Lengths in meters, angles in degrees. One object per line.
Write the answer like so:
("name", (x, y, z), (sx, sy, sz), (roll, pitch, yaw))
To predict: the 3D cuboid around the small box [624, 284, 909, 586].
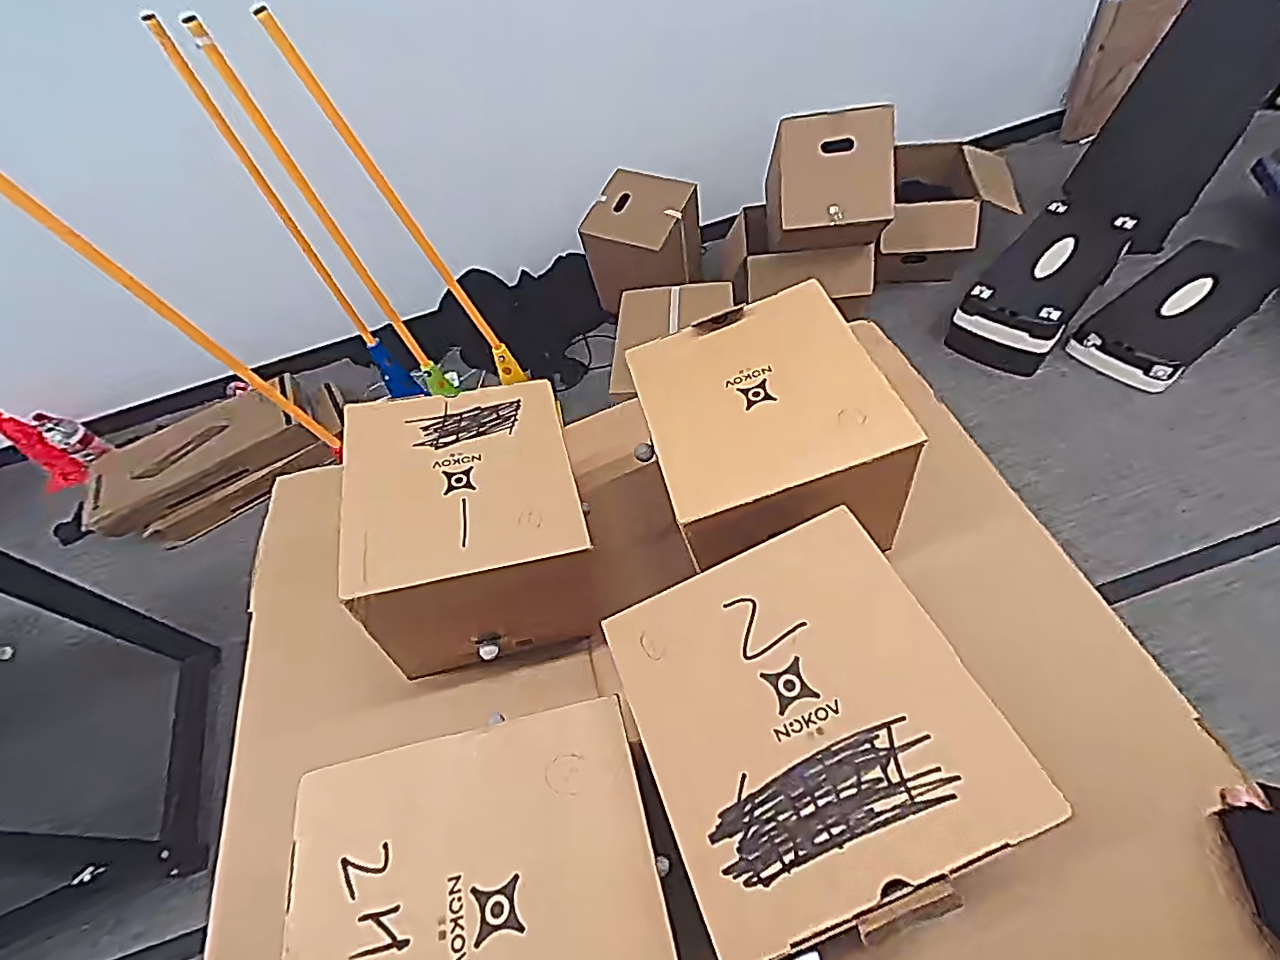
("small box", (0.101, -0.025, 0.464), (0.168, 0.176, 0.179), (-19, 54, 5))
